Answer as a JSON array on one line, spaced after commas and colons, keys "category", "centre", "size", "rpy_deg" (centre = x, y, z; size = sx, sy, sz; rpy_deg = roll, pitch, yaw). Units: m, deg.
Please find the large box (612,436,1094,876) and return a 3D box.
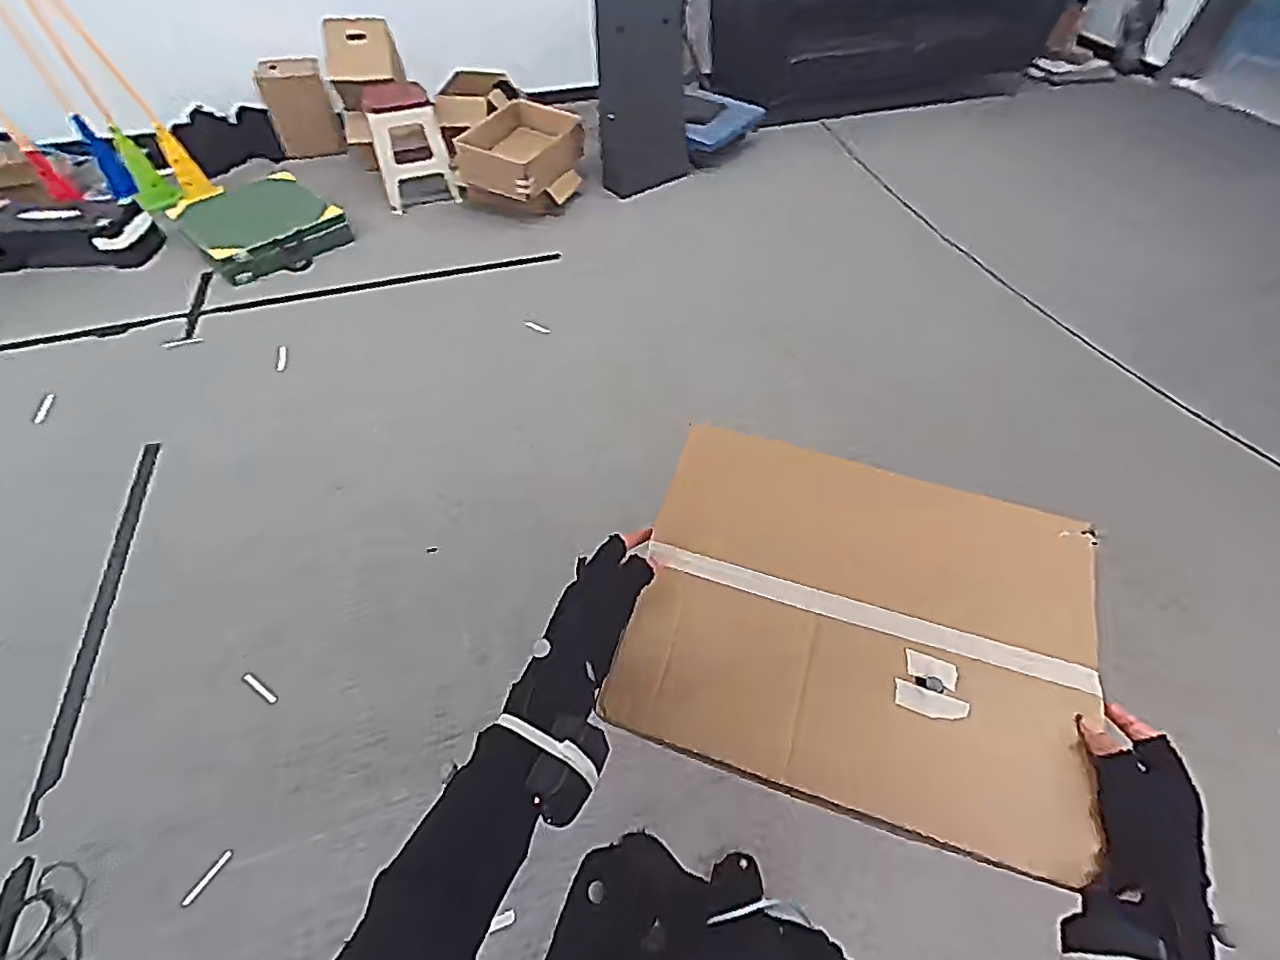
[{"category": "large box", "centre": [0.208, 0.194, 0.642], "size": [0.408, 0.320, 0.320], "rpy_deg": [16, 66, 9]}]
